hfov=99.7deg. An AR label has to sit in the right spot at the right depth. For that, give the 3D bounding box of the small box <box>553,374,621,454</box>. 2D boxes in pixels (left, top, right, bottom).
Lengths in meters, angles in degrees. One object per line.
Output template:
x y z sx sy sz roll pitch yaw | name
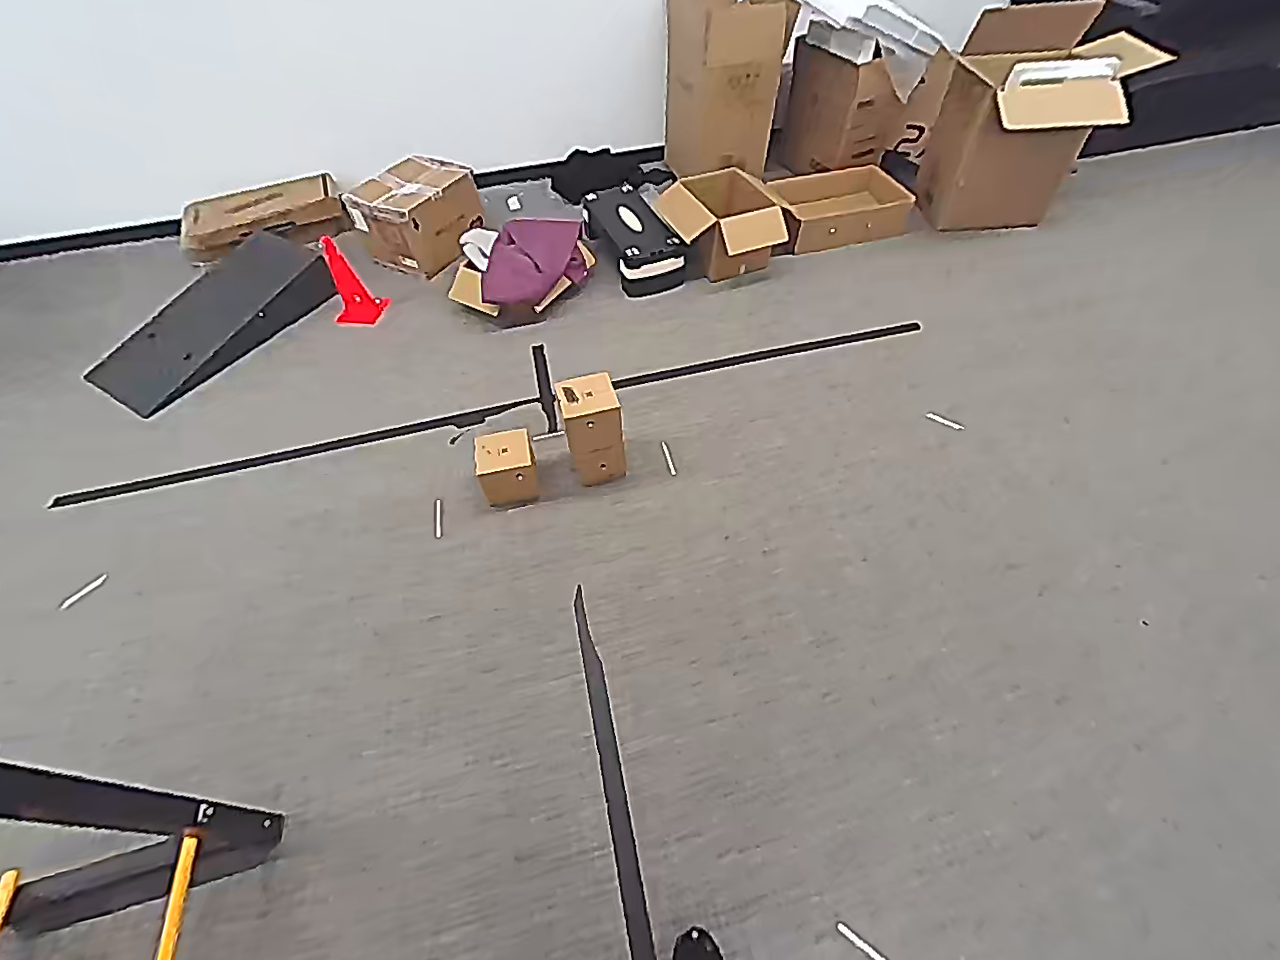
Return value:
-0.163 -0.203 1.702 0.179 0.176 0.168 -14 53 -9 | small box

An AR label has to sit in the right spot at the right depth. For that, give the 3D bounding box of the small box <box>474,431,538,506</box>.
-0.438 -0.036 1.793 0.179 0.176 0.168 -12 53 -6 | small box

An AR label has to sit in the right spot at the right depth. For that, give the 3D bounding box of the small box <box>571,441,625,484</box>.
-0.152 -0.106 1.836 0.168 0.176 0.179 -14 54 -8 | small box
